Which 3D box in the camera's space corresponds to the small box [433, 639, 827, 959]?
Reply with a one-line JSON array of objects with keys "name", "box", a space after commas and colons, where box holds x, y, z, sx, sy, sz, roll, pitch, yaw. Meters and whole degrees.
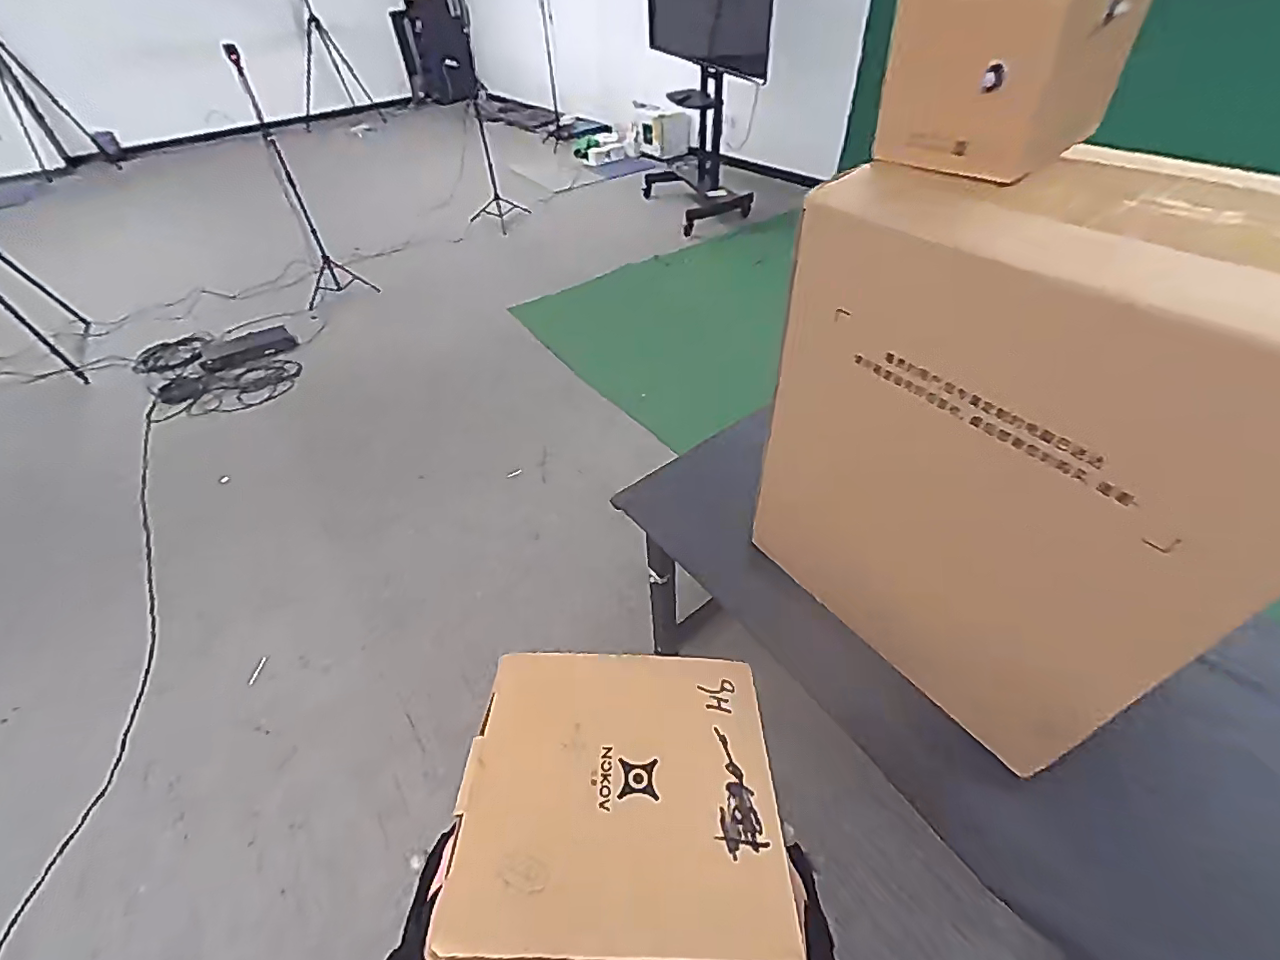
[{"name": "small box", "box": [-0.007, 0.223, 0.342, 0.179, 0.176, 0.168, 3, 35, -2]}]

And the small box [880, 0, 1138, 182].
[{"name": "small box", "box": [0.383, -0.440, 0.577, 0.179, 0.176, 0.168, -33, 51, -23]}]
